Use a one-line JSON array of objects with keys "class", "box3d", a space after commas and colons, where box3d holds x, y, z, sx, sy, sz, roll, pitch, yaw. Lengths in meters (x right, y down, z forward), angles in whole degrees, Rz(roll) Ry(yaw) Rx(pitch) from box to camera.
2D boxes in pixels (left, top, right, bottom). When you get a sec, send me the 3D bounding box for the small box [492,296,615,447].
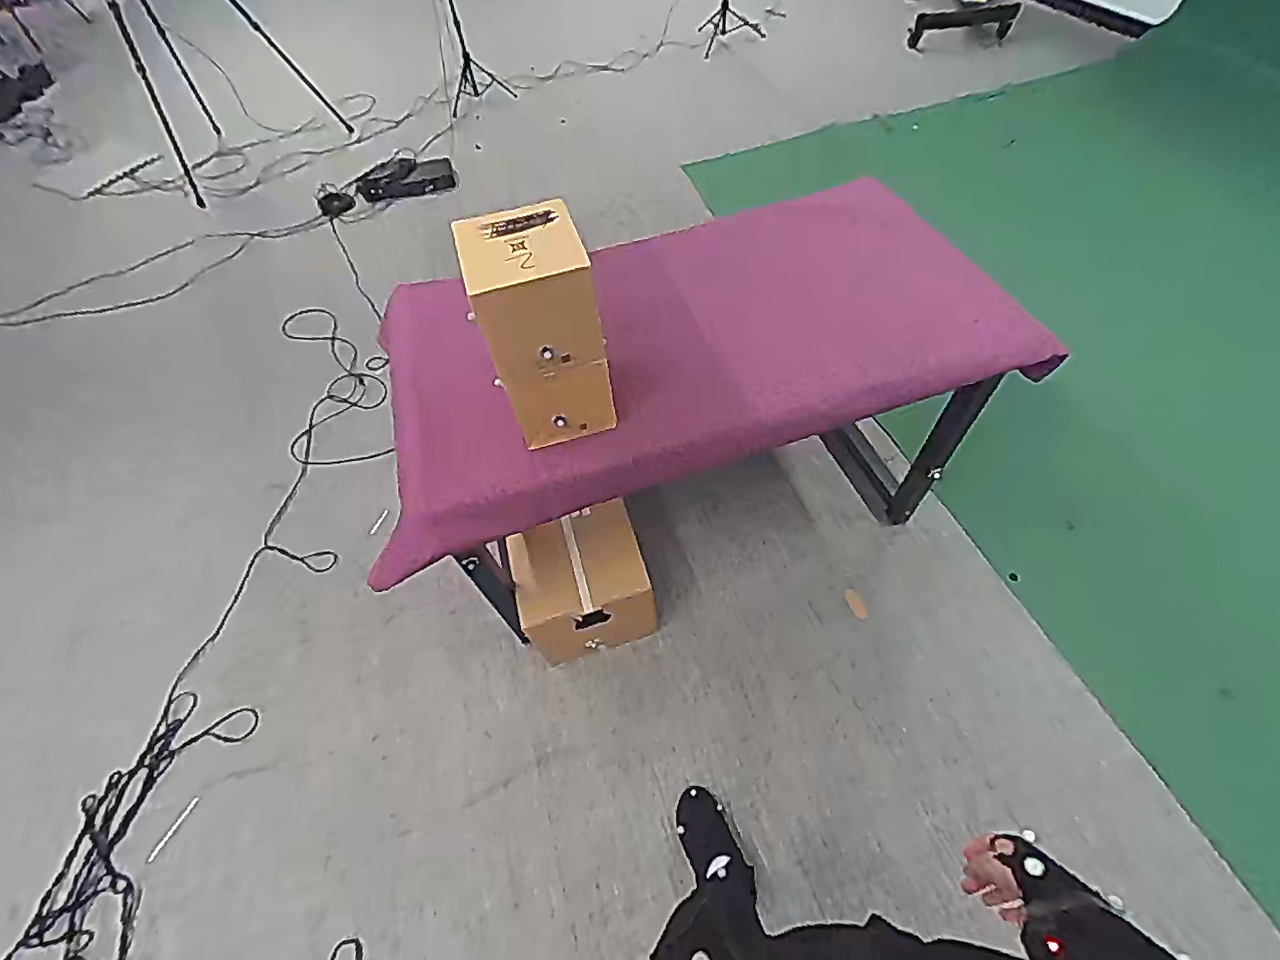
[{"class": "small box", "box3d": [-0.147, -0.186, 0.944, 0.168, 0.176, 0.179, -16, 56, -6]}]
